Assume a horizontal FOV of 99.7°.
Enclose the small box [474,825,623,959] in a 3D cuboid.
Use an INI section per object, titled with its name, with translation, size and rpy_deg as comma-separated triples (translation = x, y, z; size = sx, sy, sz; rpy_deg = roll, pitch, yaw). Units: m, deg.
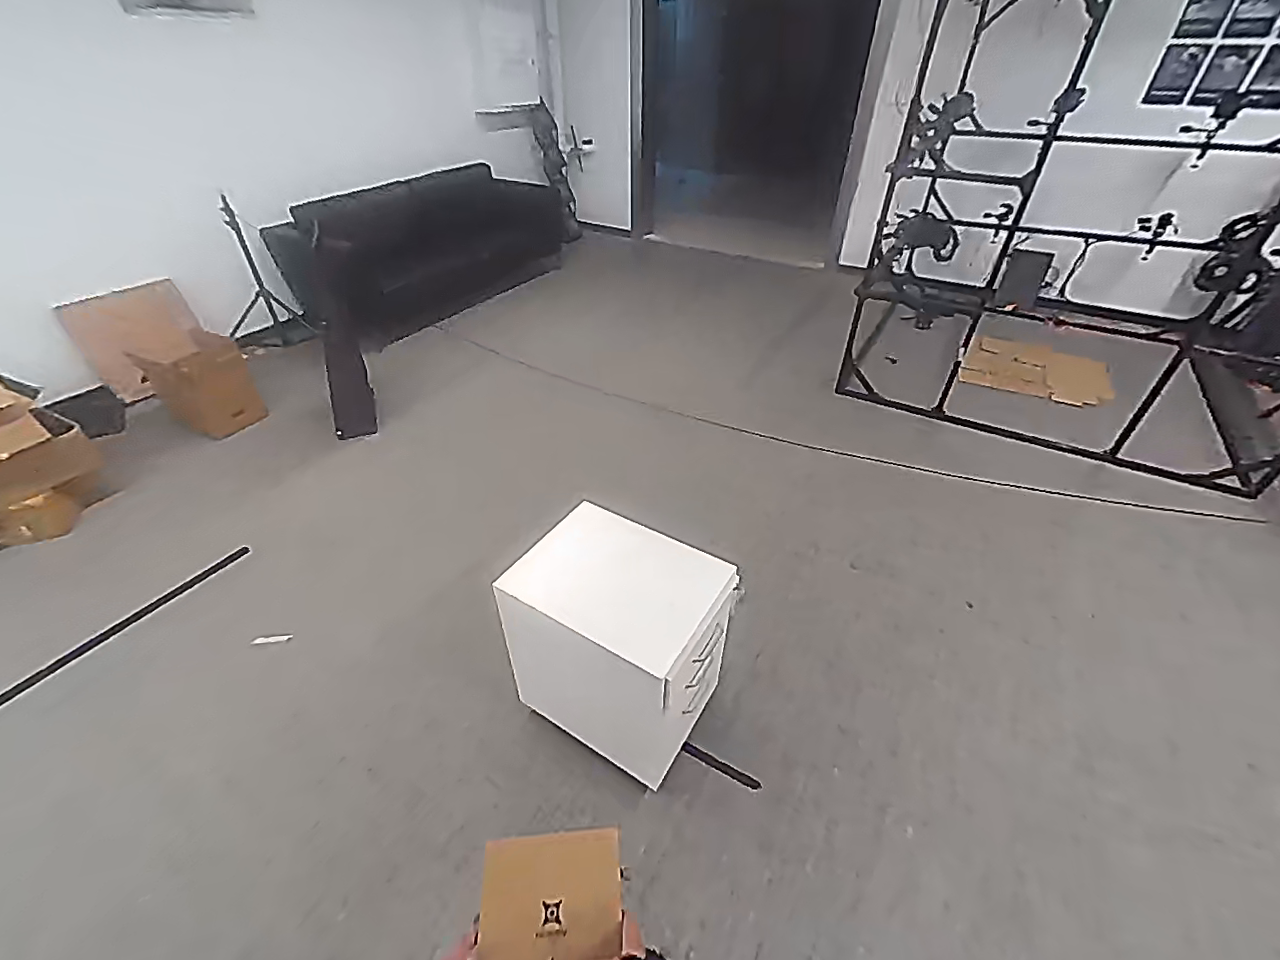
[small box]
translation = -0.106, 0.555, 0.682
size = 0.168, 0.176, 0.179
rpy_deg = -3, 51, -3
